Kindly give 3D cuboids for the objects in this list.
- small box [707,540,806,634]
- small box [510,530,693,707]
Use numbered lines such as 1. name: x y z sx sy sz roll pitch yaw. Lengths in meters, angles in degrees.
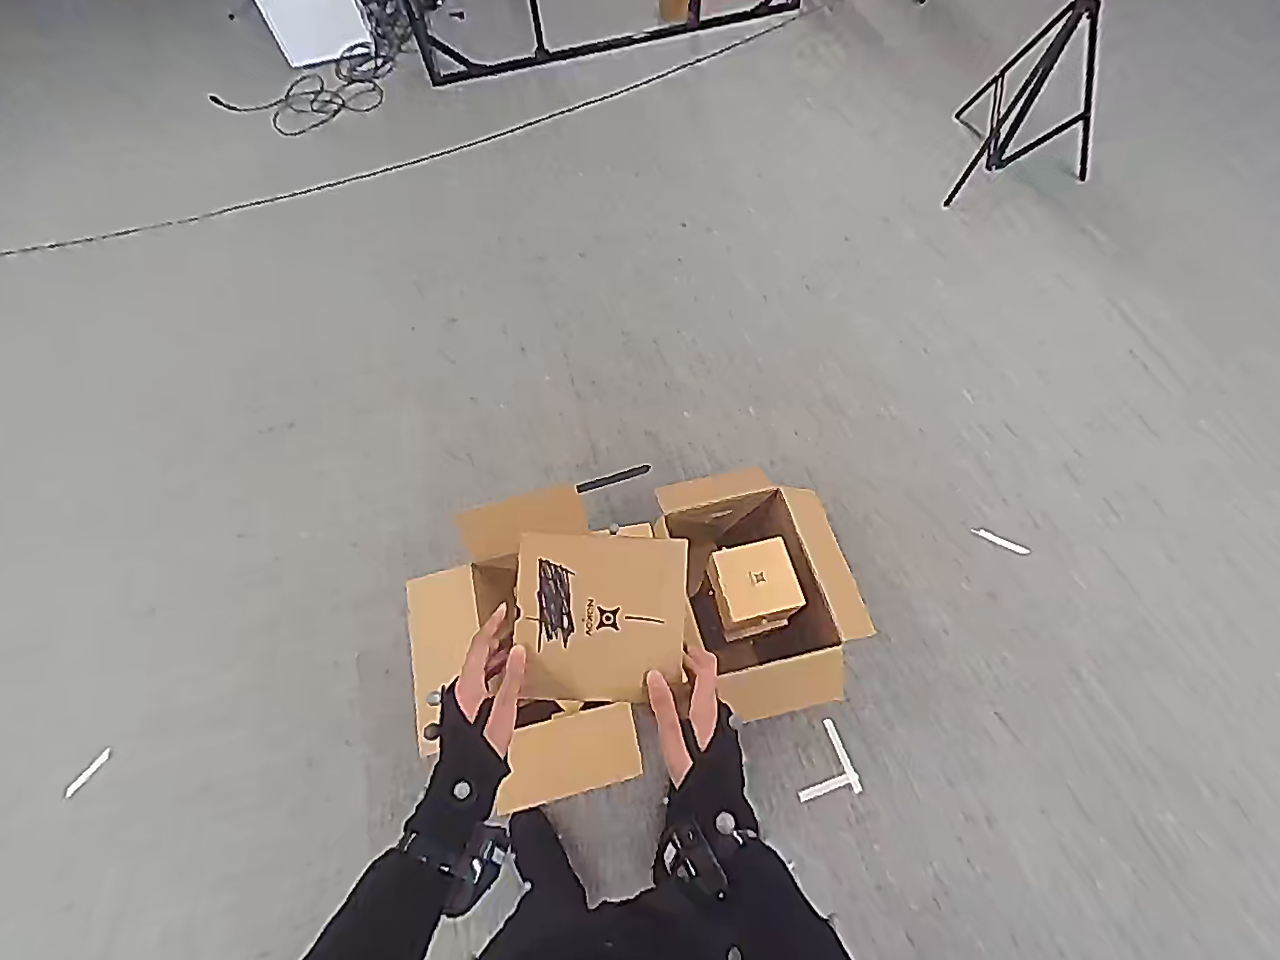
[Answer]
1. small box: 0.271 0.262 1.303 0.179 0.176 0.168 -13 66 -4
2. small box: -0.041 0.150 0.625 0.179 0.176 0.168 4 83 -3
